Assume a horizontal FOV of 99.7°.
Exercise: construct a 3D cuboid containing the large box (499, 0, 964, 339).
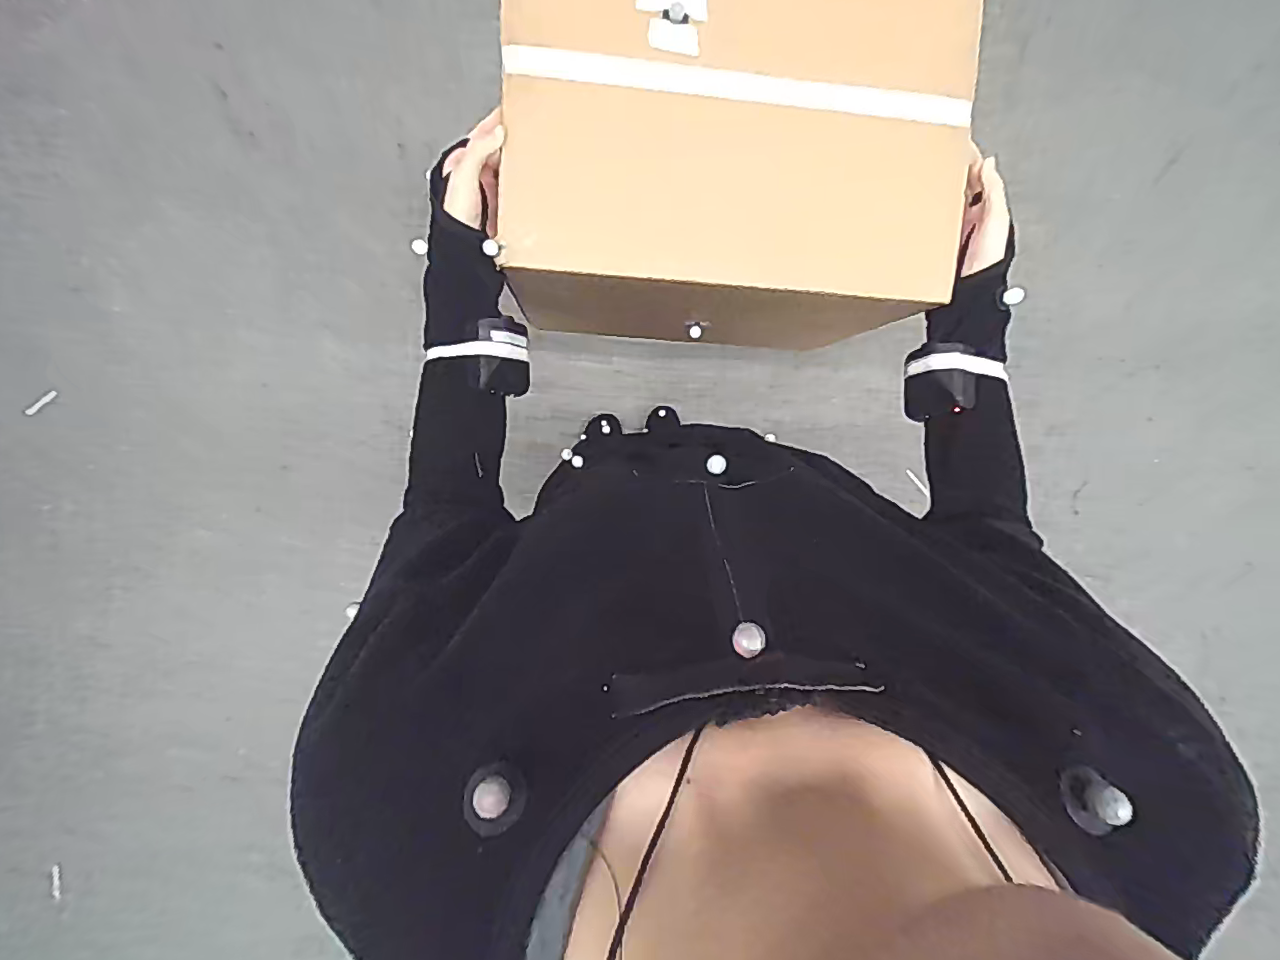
[{"bbox_3d":[0.071,-0.343,0.615,0.408,0.320,0.320,2,95,-5],"label":"large box"}]
